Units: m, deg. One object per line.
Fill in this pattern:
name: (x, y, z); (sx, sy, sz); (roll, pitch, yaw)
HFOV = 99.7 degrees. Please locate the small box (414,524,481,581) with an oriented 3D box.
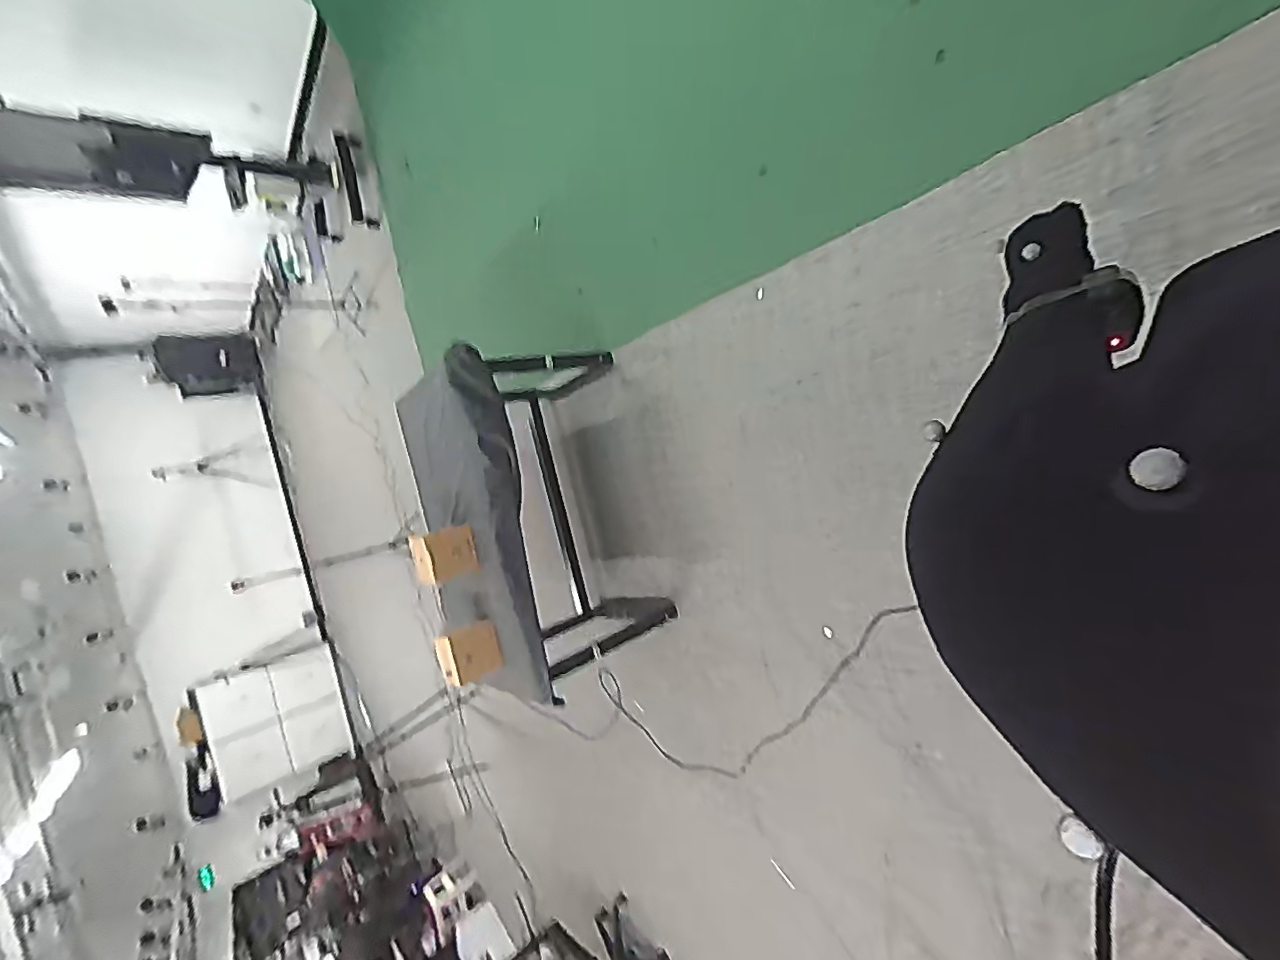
small box: (-0.695, 0.262, 1.967); (0.179, 0.176, 0.168); (-10, 93, 50)

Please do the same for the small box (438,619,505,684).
small box: (-0.614, 0.623, 1.980); (0.168, 0.176, 0.179); (-17, 87, 50)
